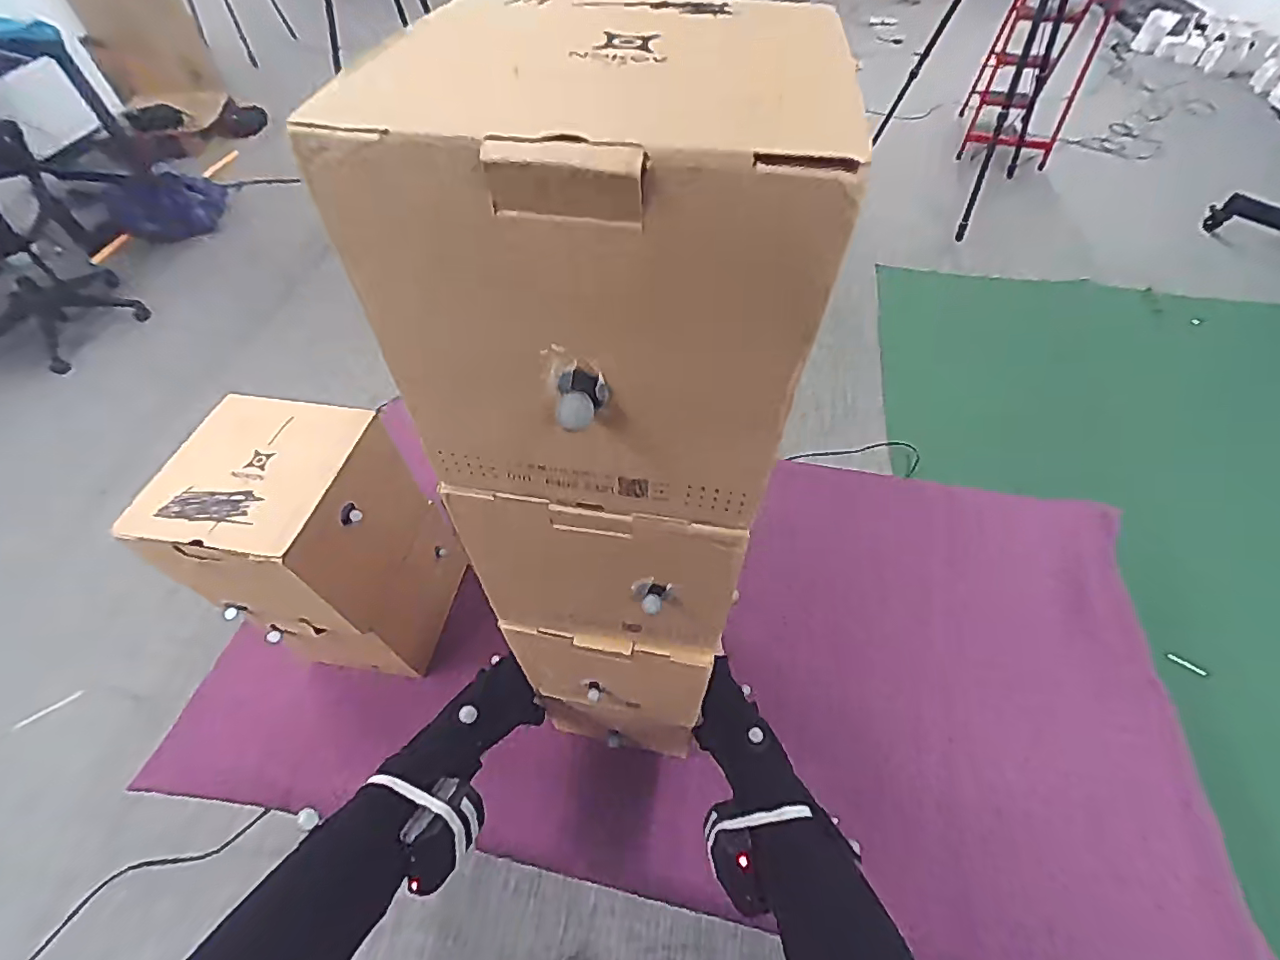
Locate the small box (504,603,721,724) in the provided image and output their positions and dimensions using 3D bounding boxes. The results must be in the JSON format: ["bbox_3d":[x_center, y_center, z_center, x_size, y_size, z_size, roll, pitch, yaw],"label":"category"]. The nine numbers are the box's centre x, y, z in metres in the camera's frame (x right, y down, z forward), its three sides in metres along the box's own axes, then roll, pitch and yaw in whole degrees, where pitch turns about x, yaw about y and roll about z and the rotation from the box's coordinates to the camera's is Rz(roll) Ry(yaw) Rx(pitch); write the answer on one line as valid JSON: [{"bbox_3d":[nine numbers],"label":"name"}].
[{"bbox_3d":[-0.009,0.107,0.511,0.168,0.176,0.179,9,54,7],"label":"small box"}]

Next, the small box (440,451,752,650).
[{"bbox_3d":[-0.011,0.002,0.384,0.168,0.176,0.179,9,53,5],"label":"small box"}]

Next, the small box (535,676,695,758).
[{"bbox_3d":[-0.008,0.205,0.641,0.168,0.176,0.179,9,54,9],"label":"small box"}]

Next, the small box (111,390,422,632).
[{"bbox_3d":[-0.354,0.037,0.561,0.168,0.176,0.179,11,55,6],"label":"small box"}]

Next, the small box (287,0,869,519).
[{"bbox_3d":[-0.007,-0.102,0.257,0.168,0.176,0.179,9,53,5],"label":"small box"}]
